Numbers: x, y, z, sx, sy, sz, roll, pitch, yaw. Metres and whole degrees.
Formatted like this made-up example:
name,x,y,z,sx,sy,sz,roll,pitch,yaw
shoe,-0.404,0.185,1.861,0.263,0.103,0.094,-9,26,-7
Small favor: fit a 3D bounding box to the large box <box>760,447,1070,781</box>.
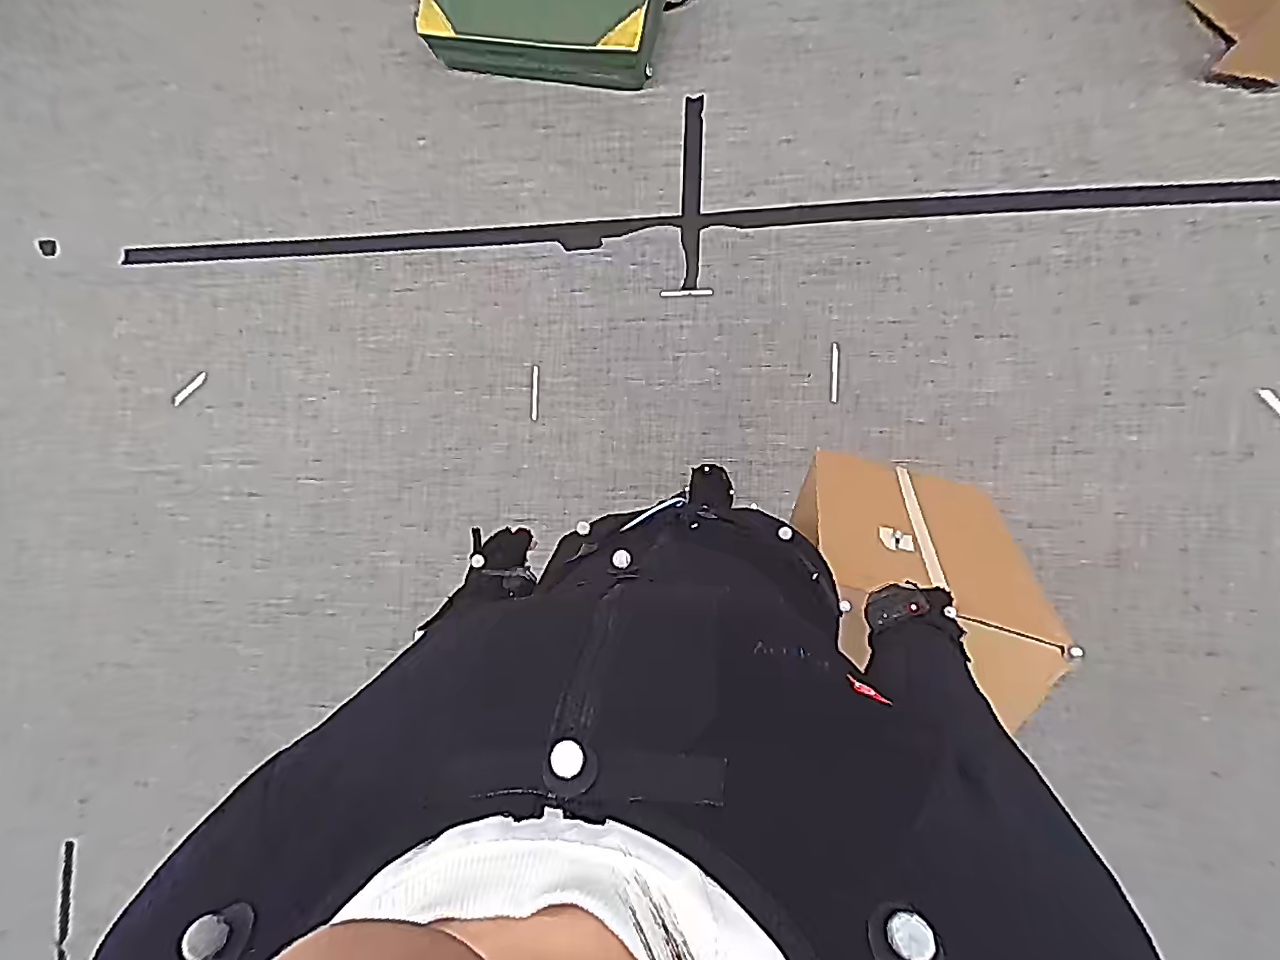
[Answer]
name,x,y,z,sx,sy,sz,roll,pitch,yaw
large box,0.405,0.199,0.921,0.320,0.408,0.320,15,123,9
